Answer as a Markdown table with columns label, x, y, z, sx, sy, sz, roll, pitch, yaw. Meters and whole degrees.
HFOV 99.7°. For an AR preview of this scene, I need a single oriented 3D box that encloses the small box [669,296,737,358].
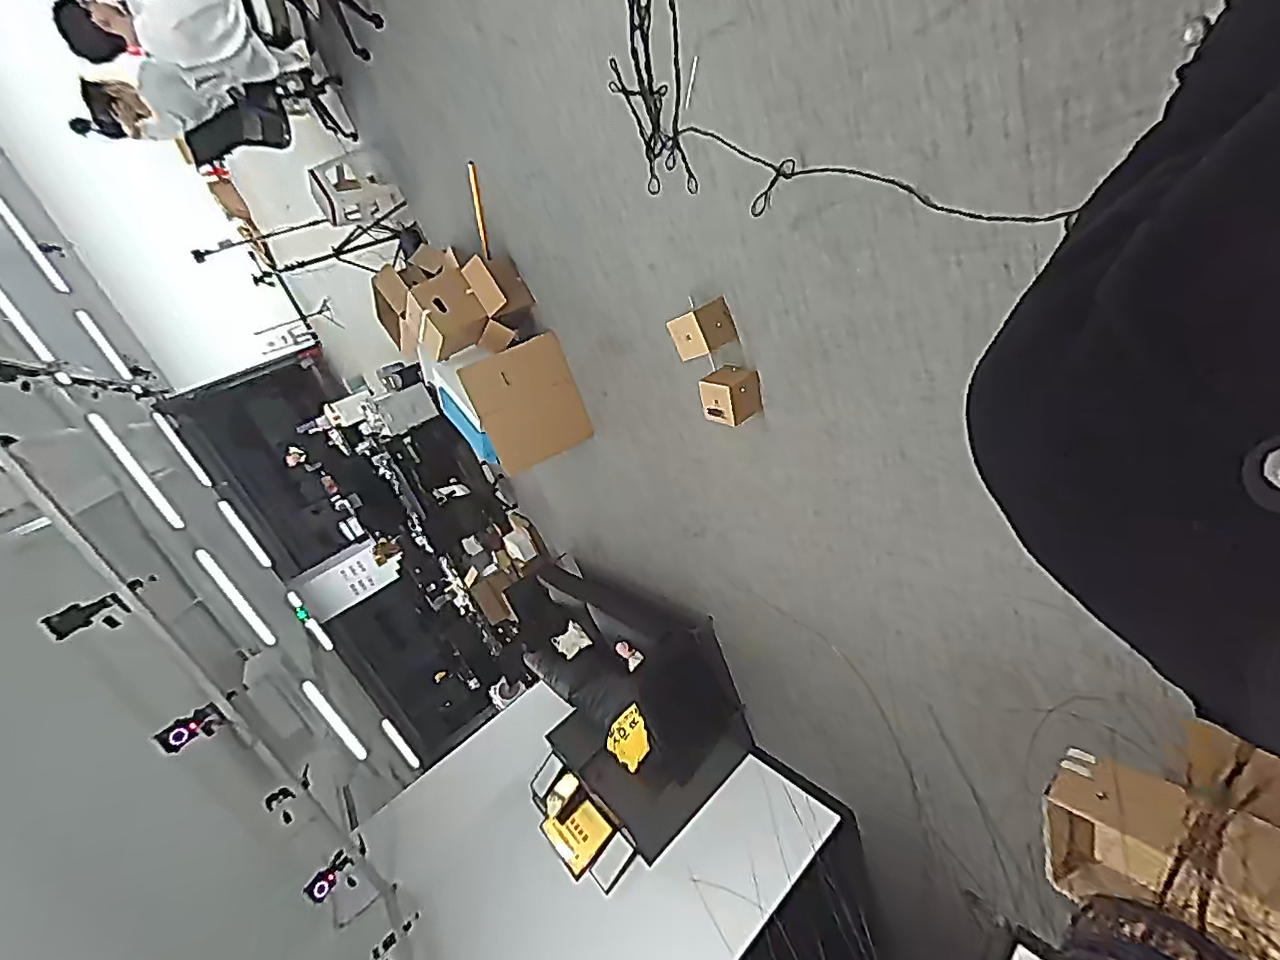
| label | x | y | z | sx | sy | sz | roll | pitch | yaw |
| --- | --- | --- | --- | --- | --- | --- | --- | --- | --- |
| small box | 0.251 | -0.593 | 2.092 | 0.179 | 0.176 | 0.168 | 1 | 121 | 59 |
